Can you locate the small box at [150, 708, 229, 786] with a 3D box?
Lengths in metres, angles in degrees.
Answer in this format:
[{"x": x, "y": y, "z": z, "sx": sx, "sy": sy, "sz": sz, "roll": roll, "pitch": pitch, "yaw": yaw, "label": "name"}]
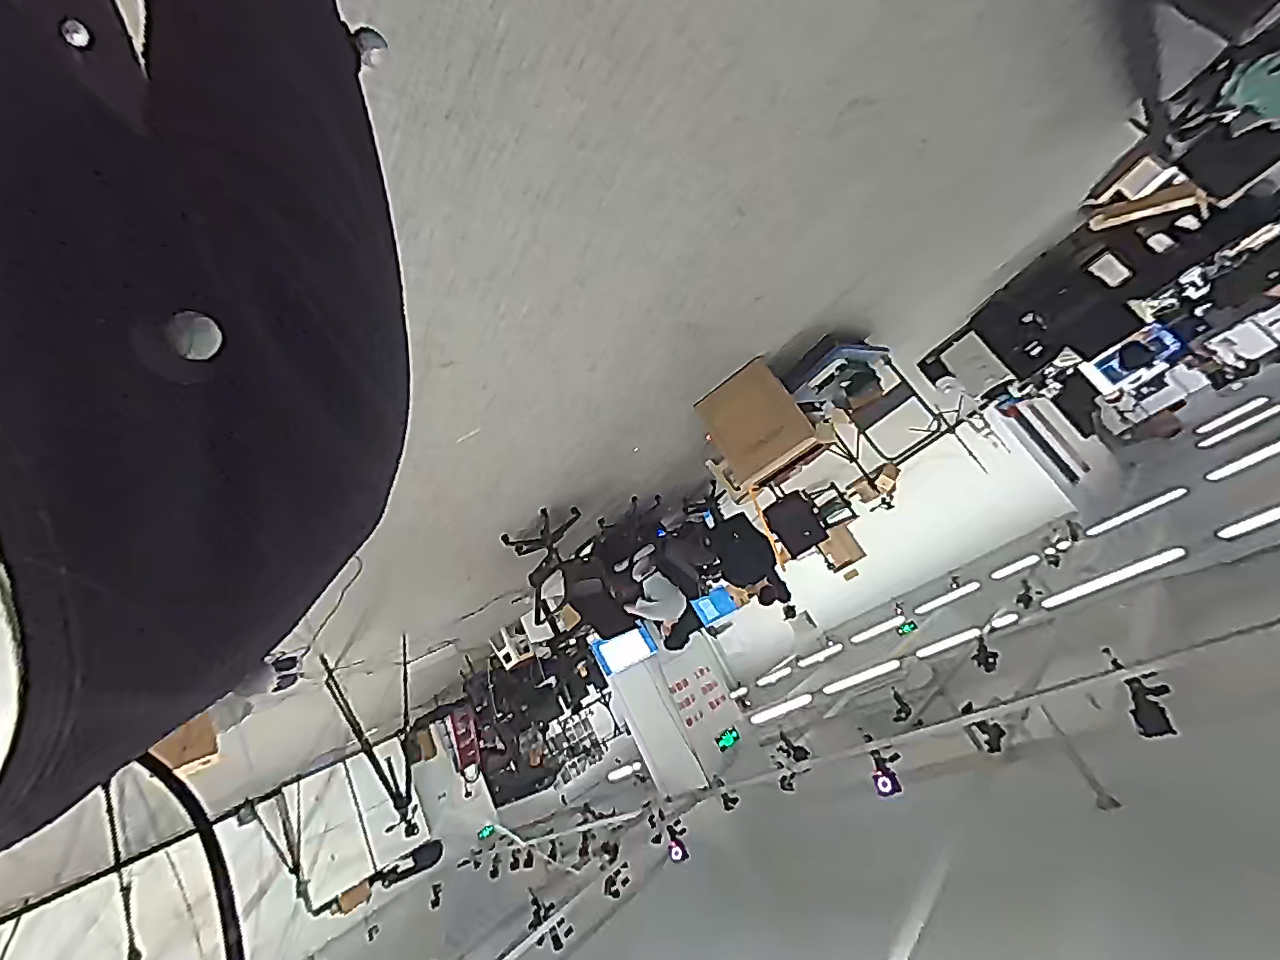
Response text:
[{"x": -1.522, "y": 0.897, "z": 1.830, "sx": 0.179, "sy": 0.176, "sz": 0.168, "roll": -13, "pitch": 155, "yaw": -40, "label": "small box"}]
